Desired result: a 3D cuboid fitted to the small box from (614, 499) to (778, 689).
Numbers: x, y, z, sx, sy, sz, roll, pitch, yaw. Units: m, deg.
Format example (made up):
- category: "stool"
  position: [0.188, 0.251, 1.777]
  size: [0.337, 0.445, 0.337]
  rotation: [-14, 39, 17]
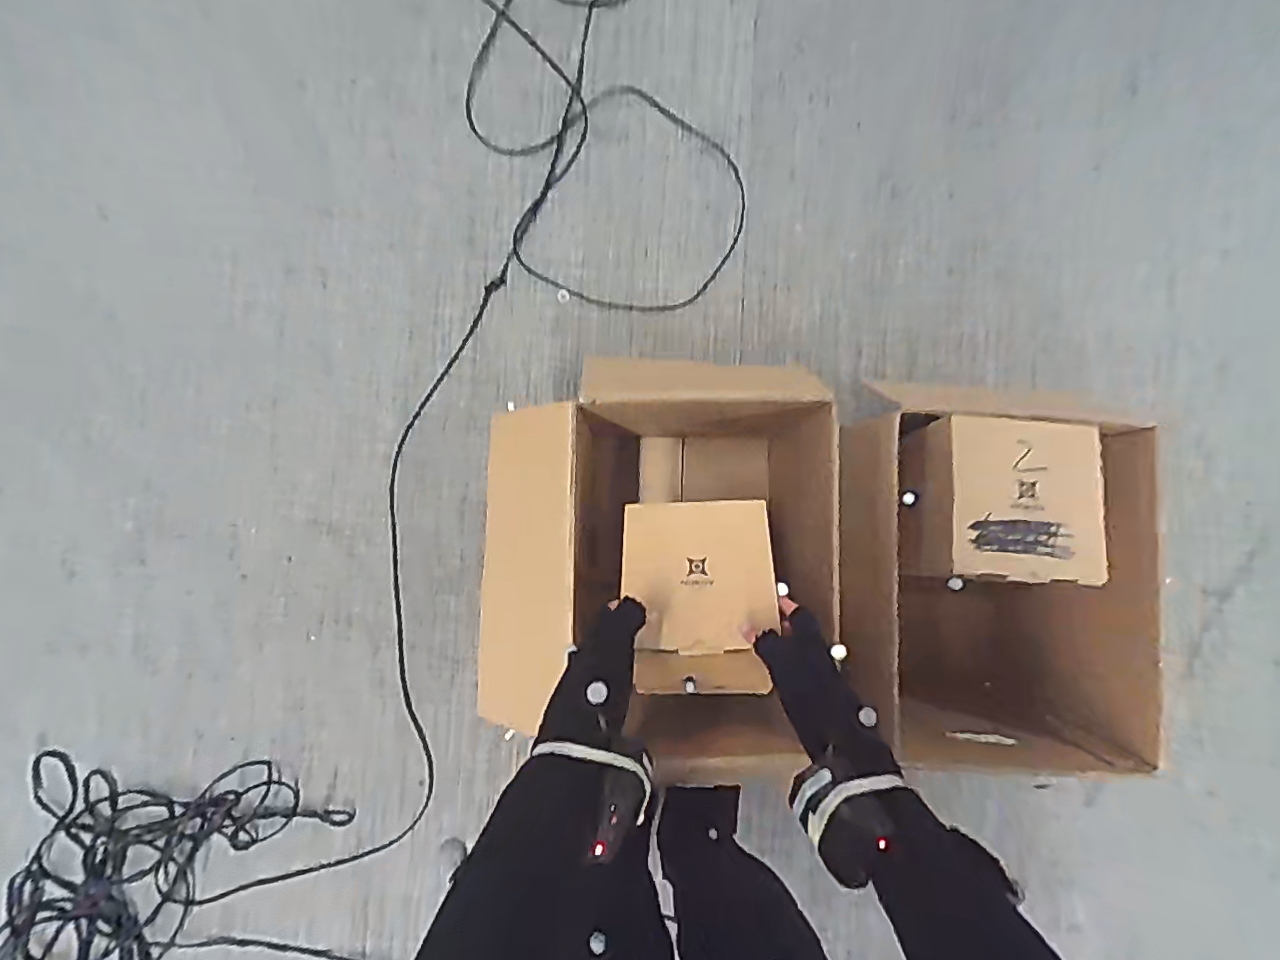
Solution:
- category: "small box"
  position: [0.065, 0.139, 0.647]
  size: [0.168, 0.176, 0.179]
  rotation: [-2, 57, 6]
